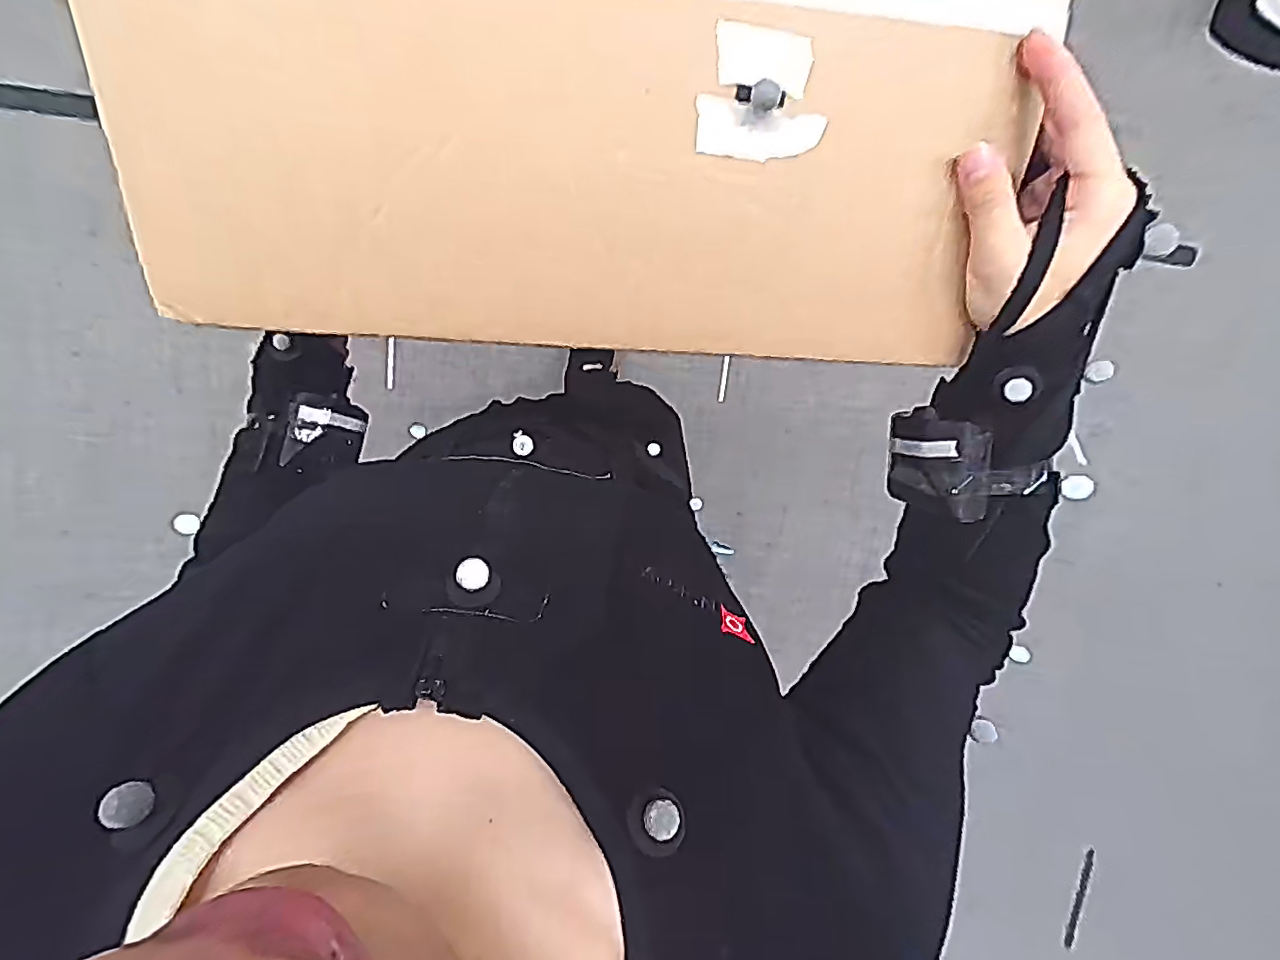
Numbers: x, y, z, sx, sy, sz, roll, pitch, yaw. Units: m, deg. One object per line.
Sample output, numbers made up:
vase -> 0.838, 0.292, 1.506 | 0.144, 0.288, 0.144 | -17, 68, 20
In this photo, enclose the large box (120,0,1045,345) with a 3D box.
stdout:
large box -> -0.028, -0.274, 0.367 | 0.408, 0.320, 0.320 | 1, 113, -8
